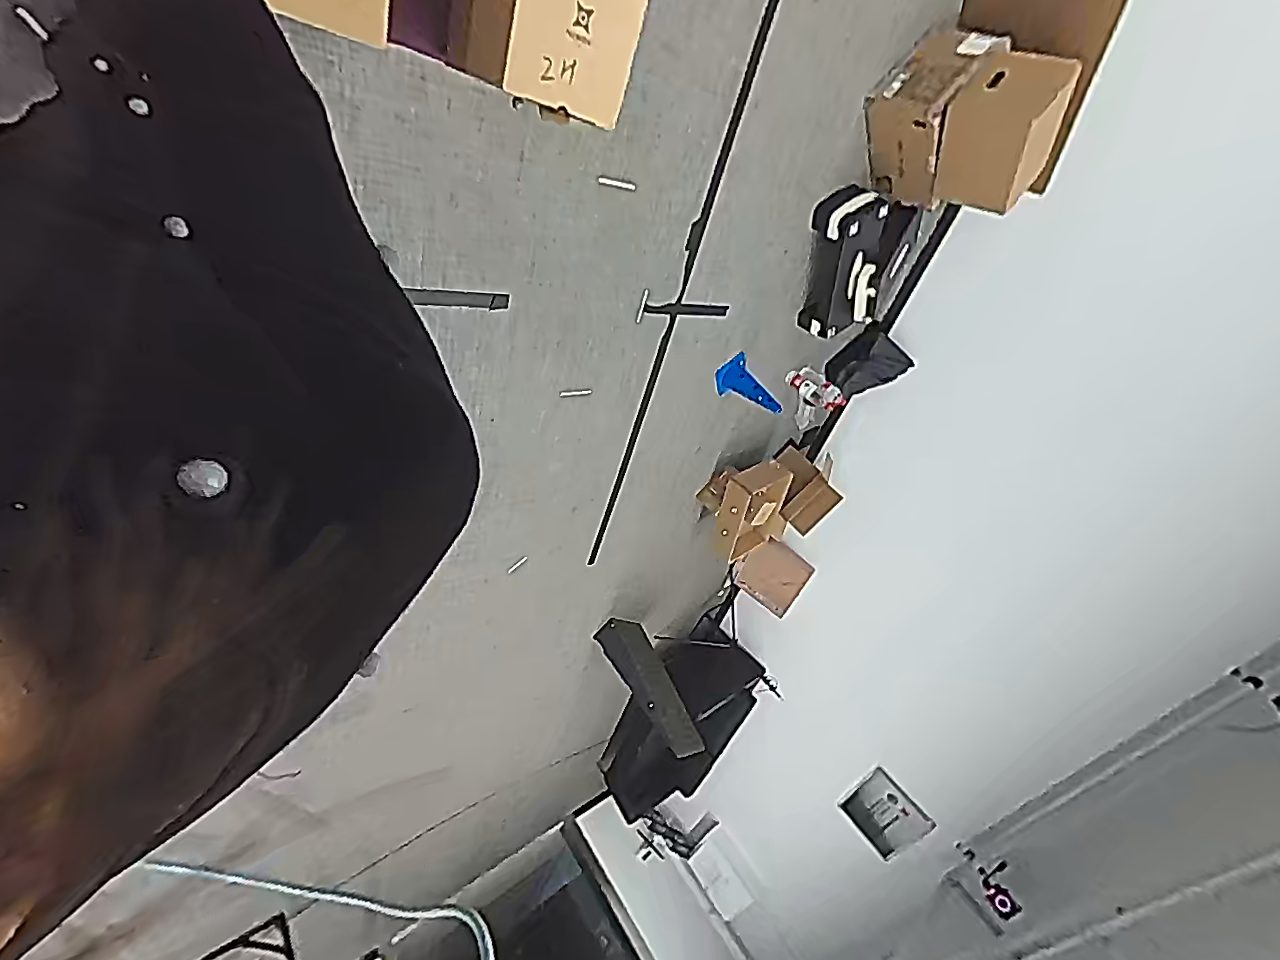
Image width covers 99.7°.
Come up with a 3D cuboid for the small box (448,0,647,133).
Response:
[{"bbox_3d":[-0.117,-0.562,0.659,0.168,0.176,0.179,-10,133,-41],"label":"small box"}]
